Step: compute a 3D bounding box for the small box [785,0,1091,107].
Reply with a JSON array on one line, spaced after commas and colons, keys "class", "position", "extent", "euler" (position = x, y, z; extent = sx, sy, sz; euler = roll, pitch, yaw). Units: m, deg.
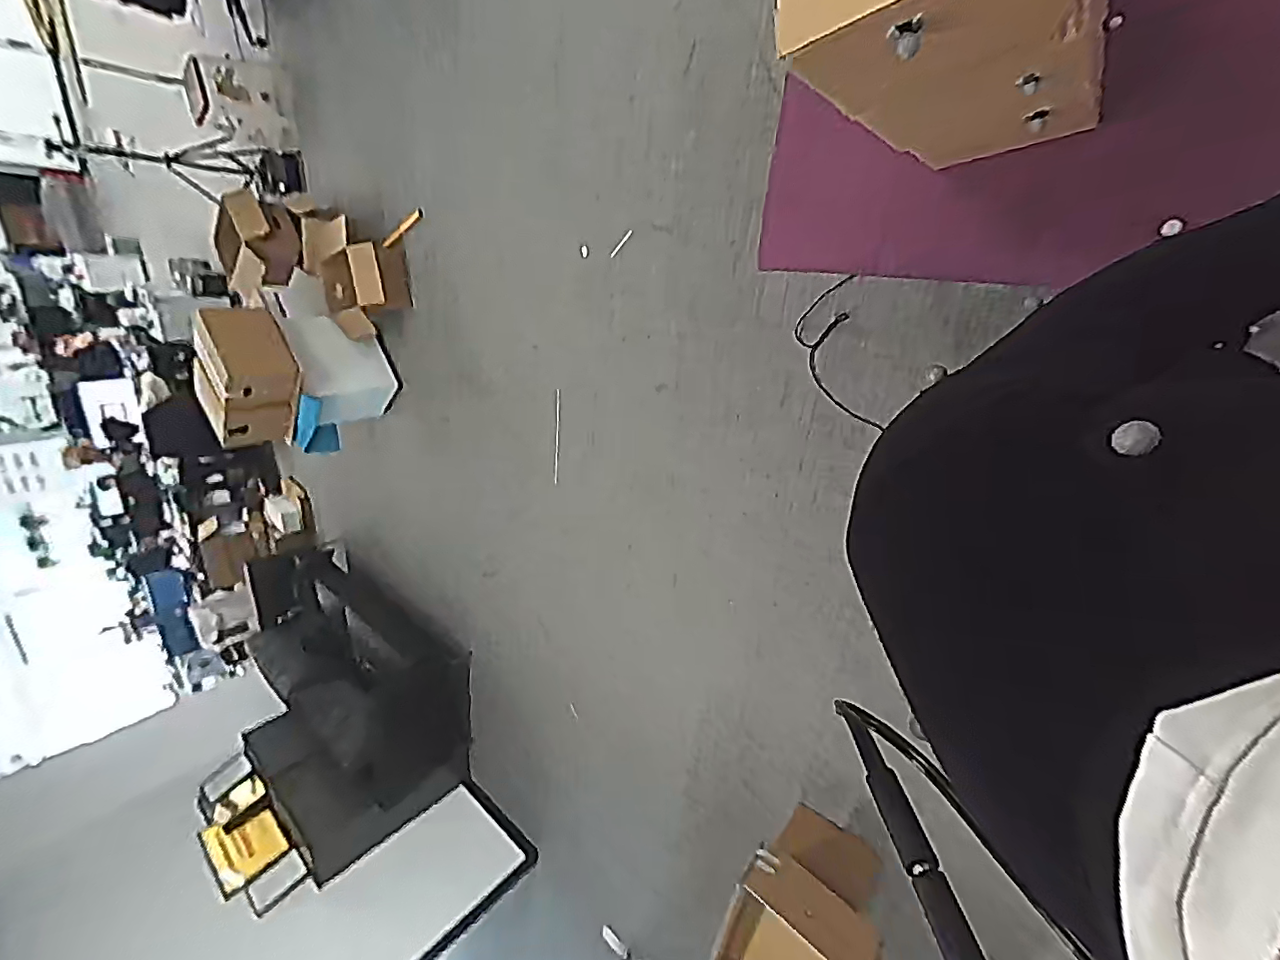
[{"class": "small box", "position": [0.212, -0.396, 0.374], "extent": [0.179, 0.176, 0.168], "euler": [4, 107, 40]}]

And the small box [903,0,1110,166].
[{"class": "small box", "position": [0.416, -0.482, 0.614], "extent": [0.179, 0.176, 0.168], "euler": [6, 107, 40]}]
